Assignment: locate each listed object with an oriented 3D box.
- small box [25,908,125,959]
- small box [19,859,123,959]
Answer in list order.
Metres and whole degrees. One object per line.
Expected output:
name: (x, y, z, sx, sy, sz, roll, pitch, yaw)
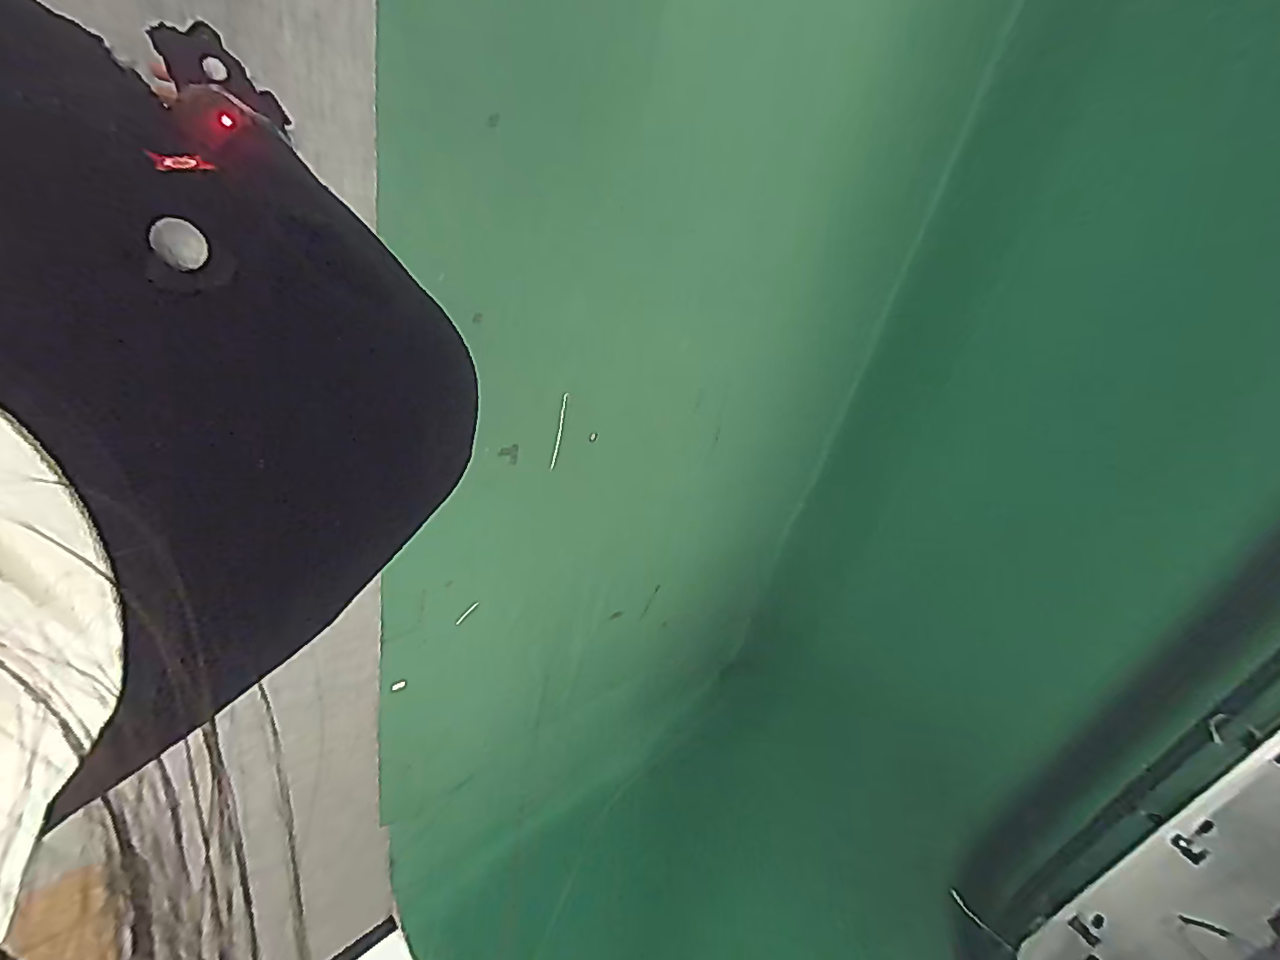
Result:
small box: (-1.507, 1.314, 1.445, 0.179, 0.176, 0.168, -14, 129, -44)
small box: (-1.620, 1.245, 1.541, 0.179, 0.176, 0.168, -17, 131, -44)
